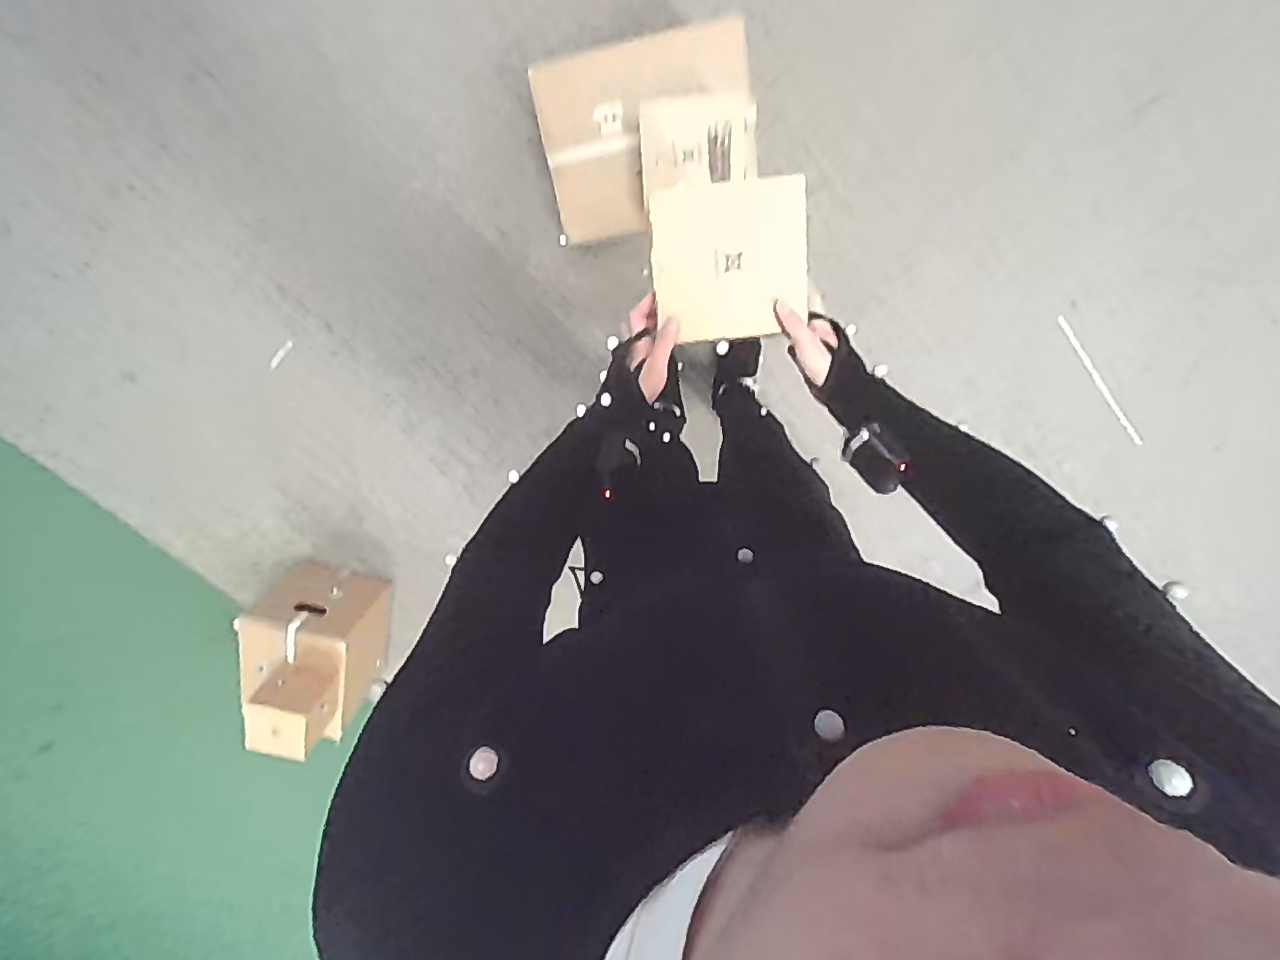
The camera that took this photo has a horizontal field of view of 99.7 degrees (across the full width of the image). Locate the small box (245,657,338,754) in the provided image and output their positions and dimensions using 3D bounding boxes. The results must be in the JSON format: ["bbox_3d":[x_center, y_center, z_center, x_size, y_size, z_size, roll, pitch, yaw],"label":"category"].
[{"bbox_3d":[-0.985,0.636,1.539,0.168,0.176,0.179,15,114,-5],"label":"small box"}]

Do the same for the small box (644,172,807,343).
[{"bbox_3d":[0.099,-0.266,0.676,0.179,0.176,0.168,-5,104,4],"label":"small box"}]

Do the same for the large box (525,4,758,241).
[{"bbox_3d":[0.019,-0.723,1.161,0.408,0.320,0.320,-9,113,7],"label":"large box"}]
